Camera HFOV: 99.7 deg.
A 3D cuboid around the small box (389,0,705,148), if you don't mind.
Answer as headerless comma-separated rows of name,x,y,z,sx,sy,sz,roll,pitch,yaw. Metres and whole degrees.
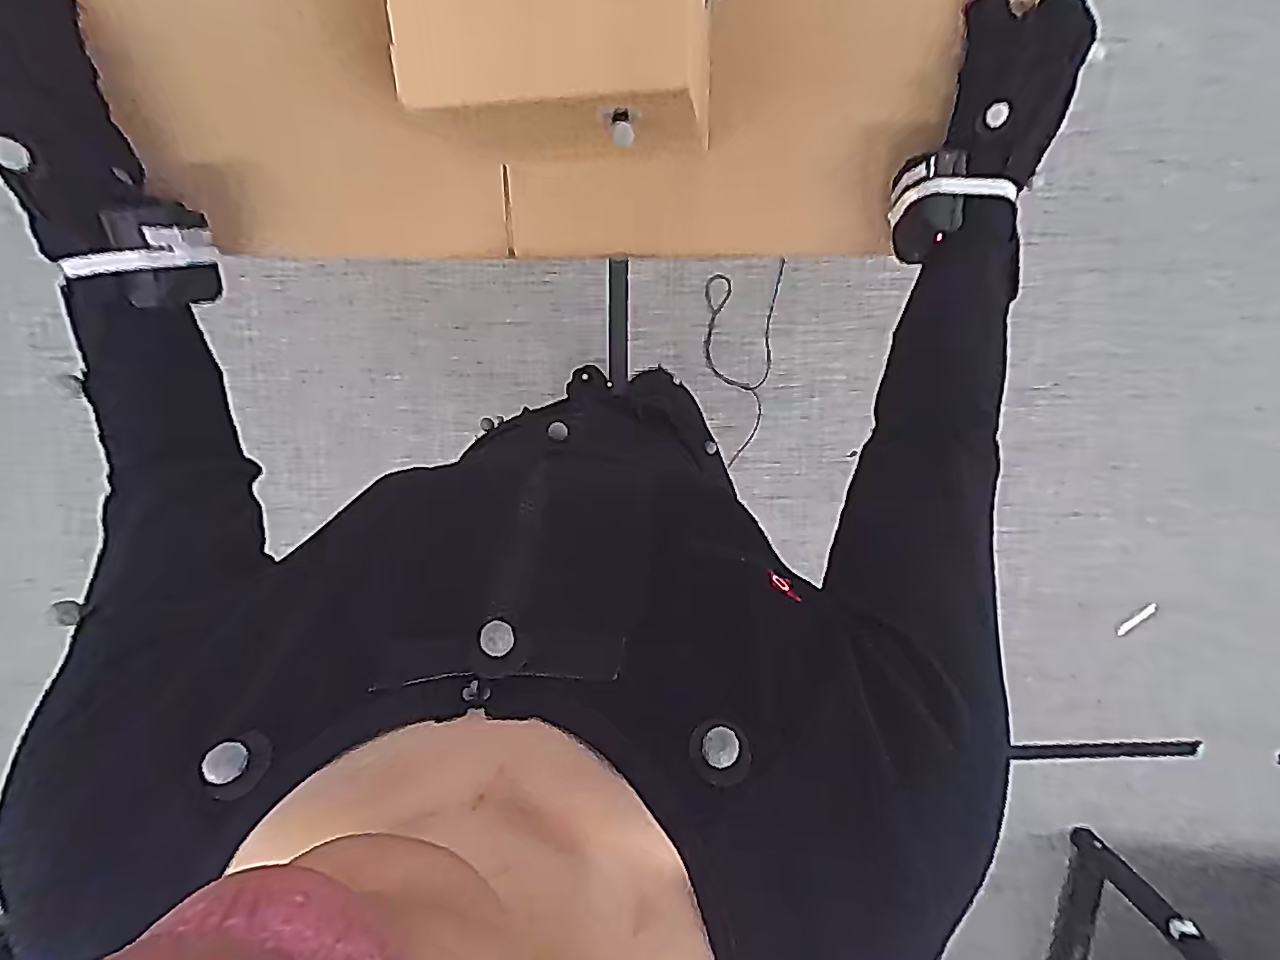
small box,-0.046,-0.334,0.359,0.179,0.176,0.168,3,110,10
